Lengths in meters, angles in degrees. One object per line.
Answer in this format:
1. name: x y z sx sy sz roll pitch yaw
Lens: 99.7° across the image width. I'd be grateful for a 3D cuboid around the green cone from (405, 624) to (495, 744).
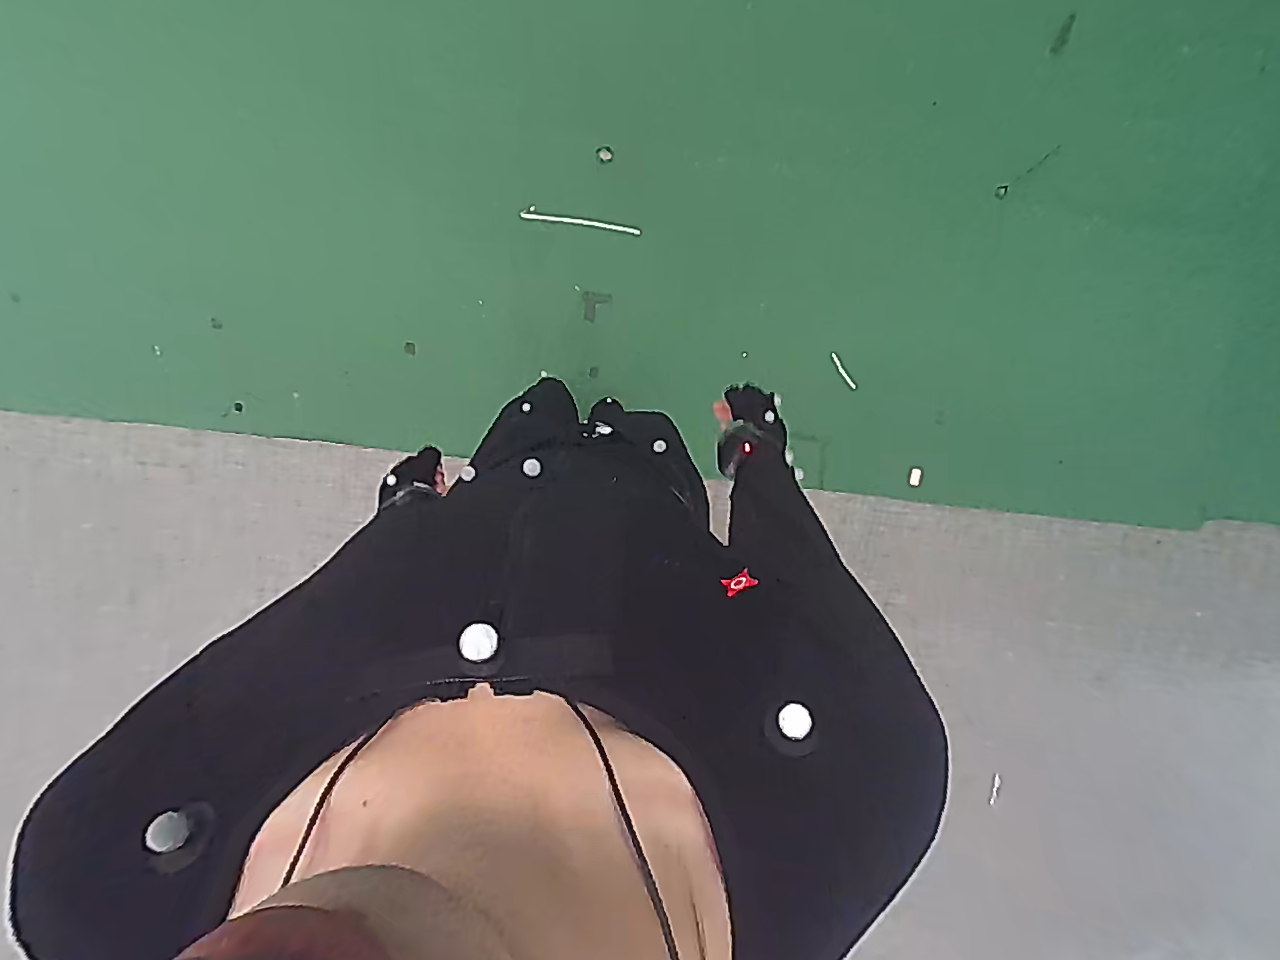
1. green cone: -0.514 0.537 1.373 0.200 0.368 0.202 8 98 -4
